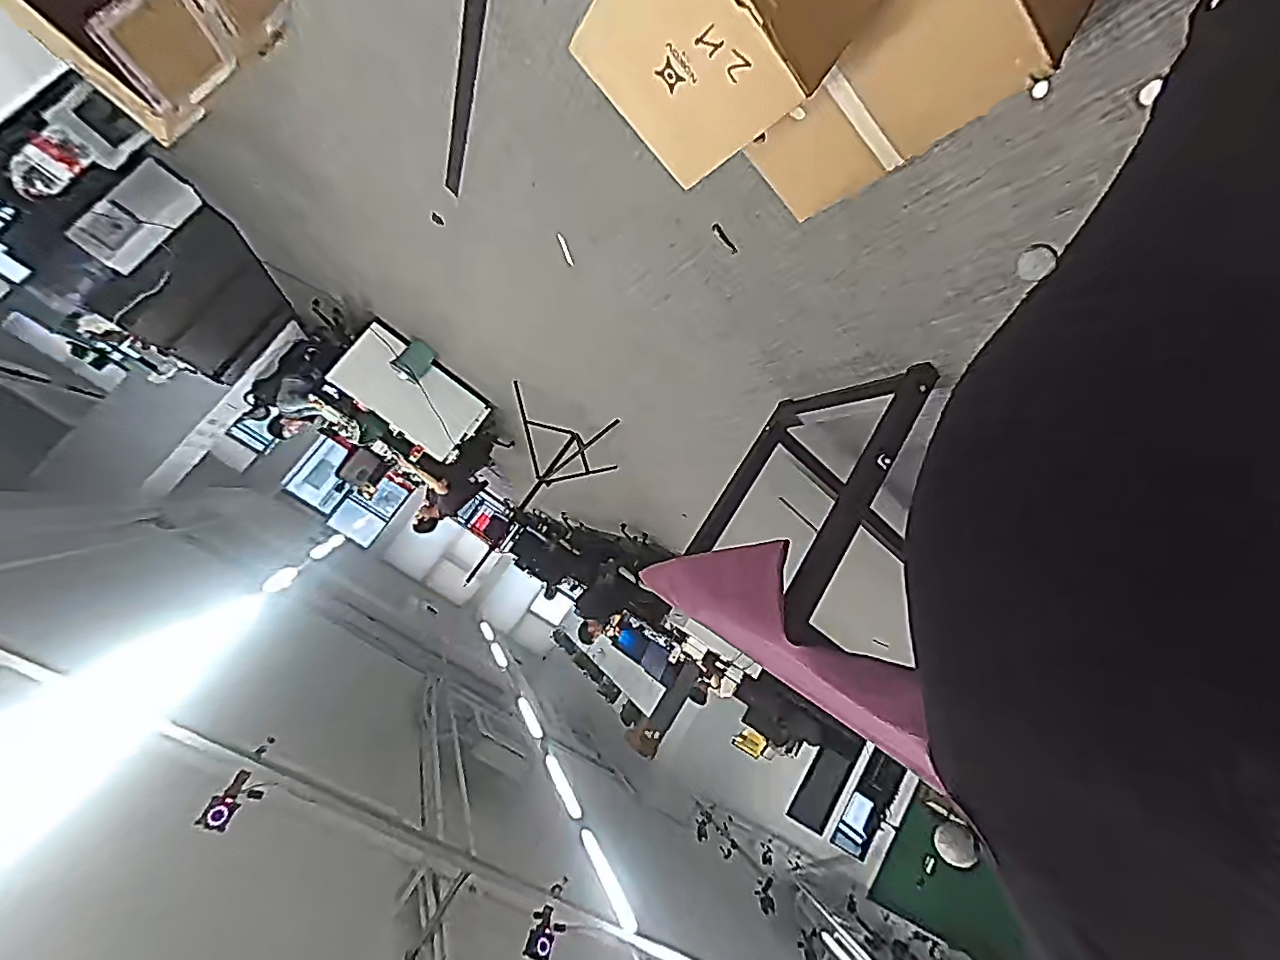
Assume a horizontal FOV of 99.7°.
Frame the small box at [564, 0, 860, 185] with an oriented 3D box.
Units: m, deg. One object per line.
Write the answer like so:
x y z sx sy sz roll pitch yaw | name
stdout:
0.069 -0.409 0.465 0.168 0.176 0.179 39 165 -24 | small box

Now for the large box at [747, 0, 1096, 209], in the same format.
0.221 -0.590 0.544 0.408 0.320 0.320 38 167 -20 | large box
